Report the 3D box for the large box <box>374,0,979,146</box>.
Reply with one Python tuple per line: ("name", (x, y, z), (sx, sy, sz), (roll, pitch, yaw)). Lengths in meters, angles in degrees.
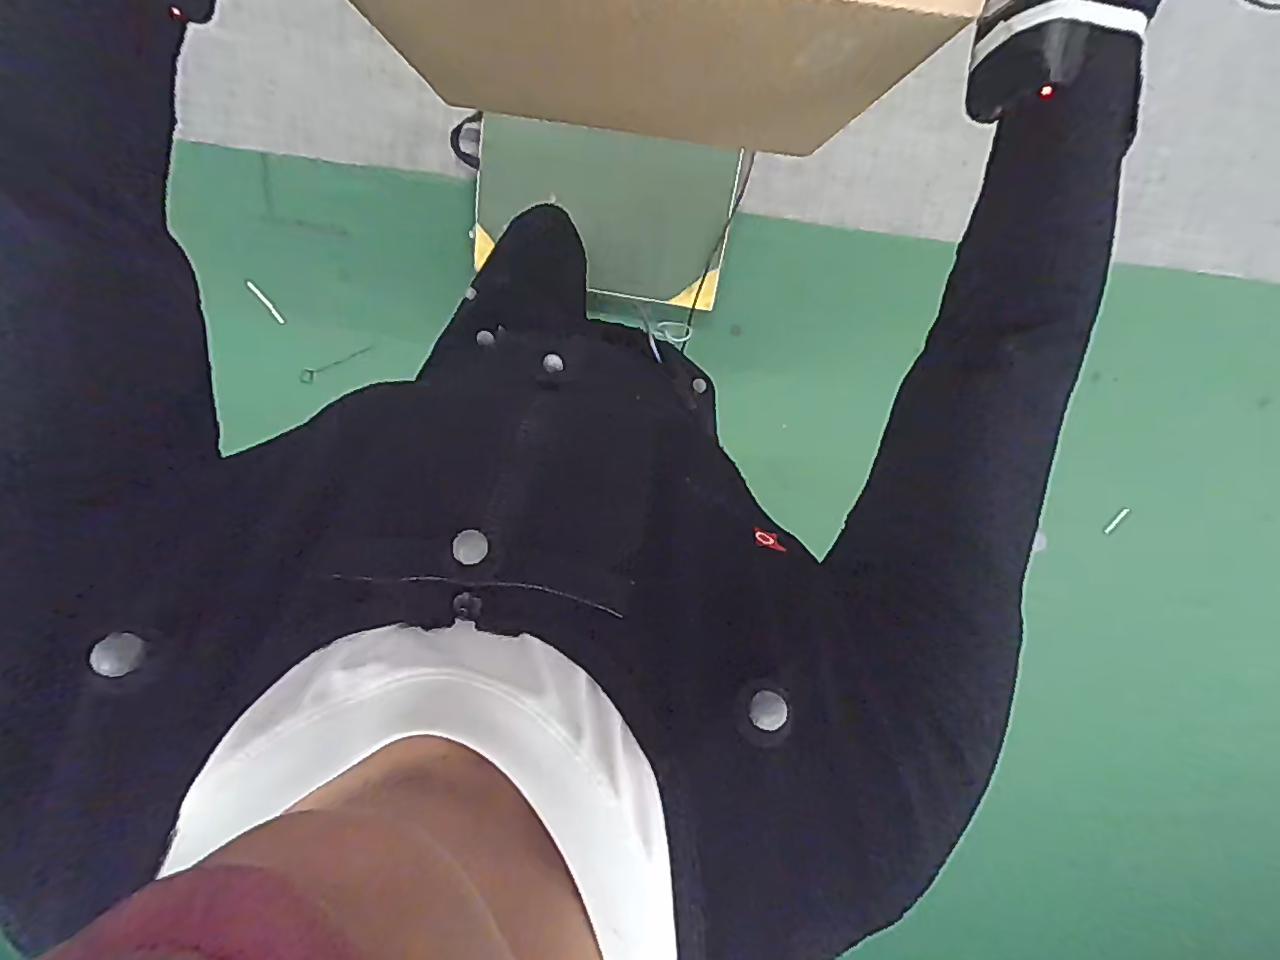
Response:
("large box", (0.015, -0.485, 0.408), (0.408, 0.320, 0.320), (5, 109, -4))
